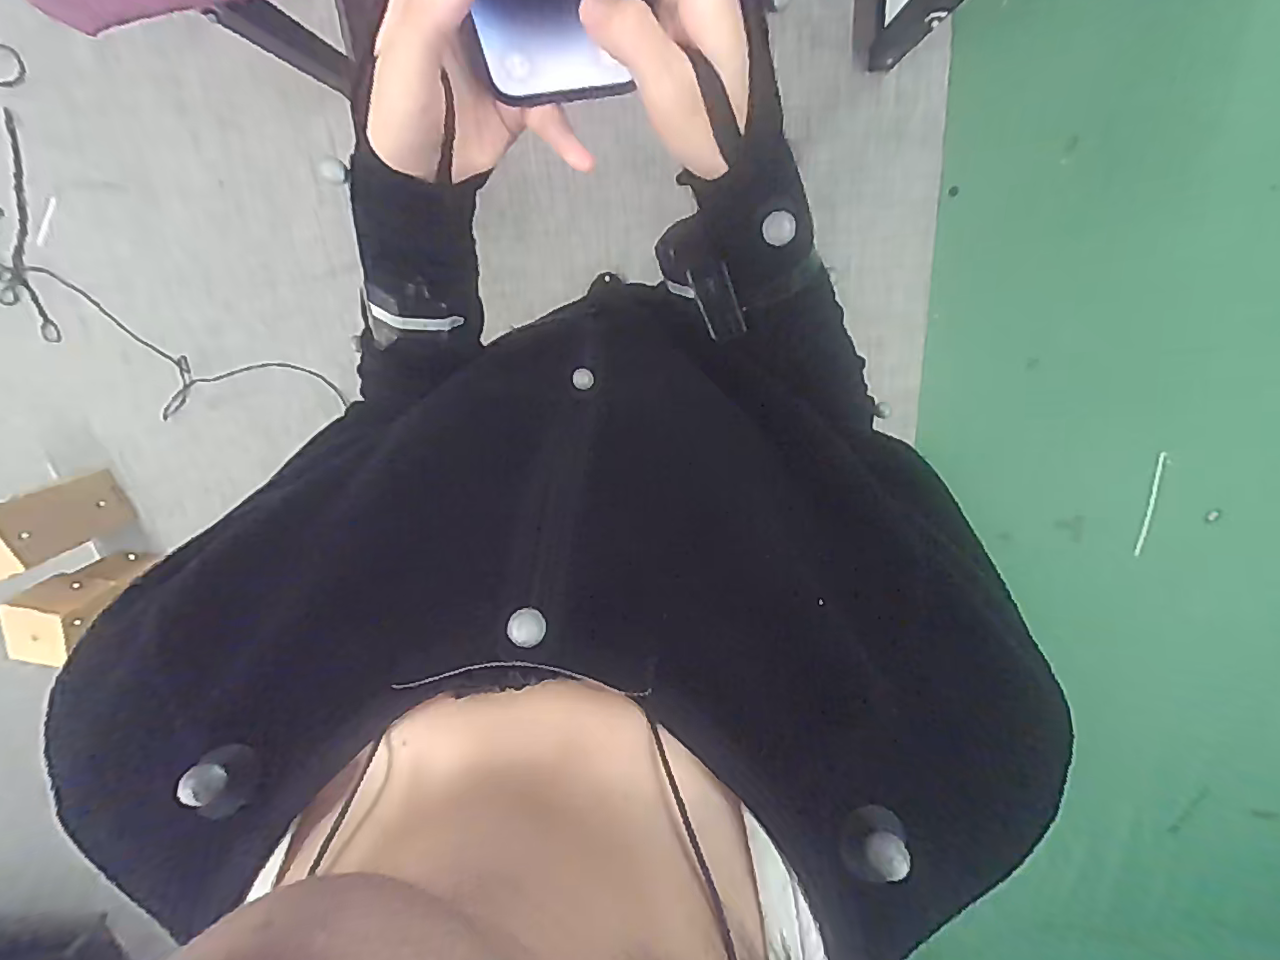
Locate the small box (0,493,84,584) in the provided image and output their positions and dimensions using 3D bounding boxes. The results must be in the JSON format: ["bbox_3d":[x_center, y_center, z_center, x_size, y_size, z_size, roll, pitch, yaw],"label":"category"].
[{"bbox_3d":[-1.633,0.157,1.405,0.168,0.176,0.179,-15,109,7],"label":"small box"}]

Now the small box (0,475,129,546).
[{"bbox_3d":[-1.641,0.096,1.556,0.179,0.176,0.168,-11,109,7],"label":"small box"}]

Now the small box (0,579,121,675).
[{"bbox_3d":[-1.594,0.400,1.493,0.168,0.176,0.179,12,109,-1],"label":"small box"}]
